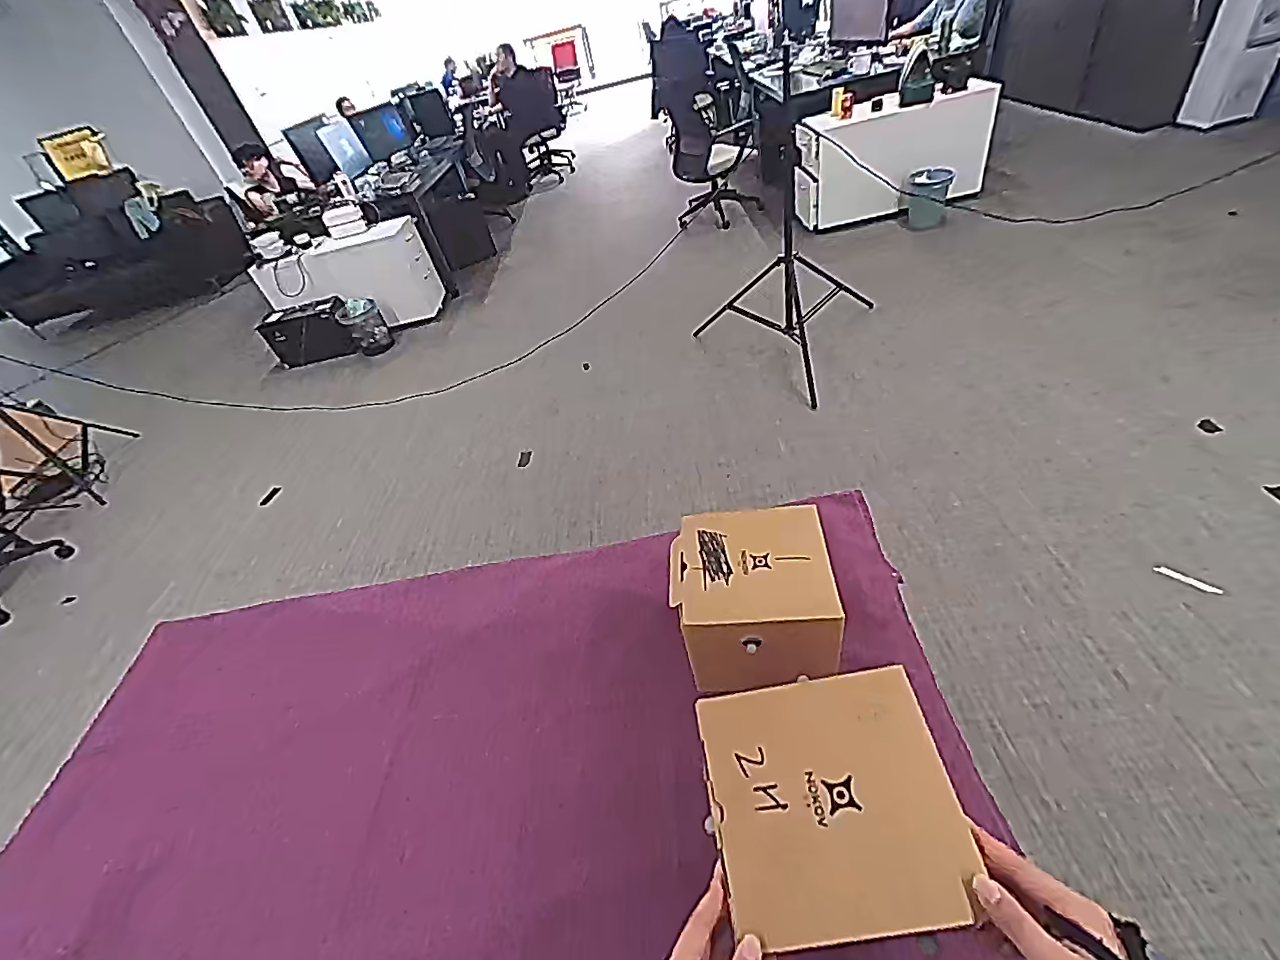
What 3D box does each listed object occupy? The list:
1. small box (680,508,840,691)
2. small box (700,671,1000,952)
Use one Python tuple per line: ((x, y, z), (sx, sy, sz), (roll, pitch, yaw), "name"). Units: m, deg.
((0.150, 0.159, 0.700), (0.179, 0.176, 0.168), (-6, 44, 9), "small box")
((0.157, 0.282, 0.467), (0.179, 0.176, 0.168), (-12, 52, 5), "small box")
